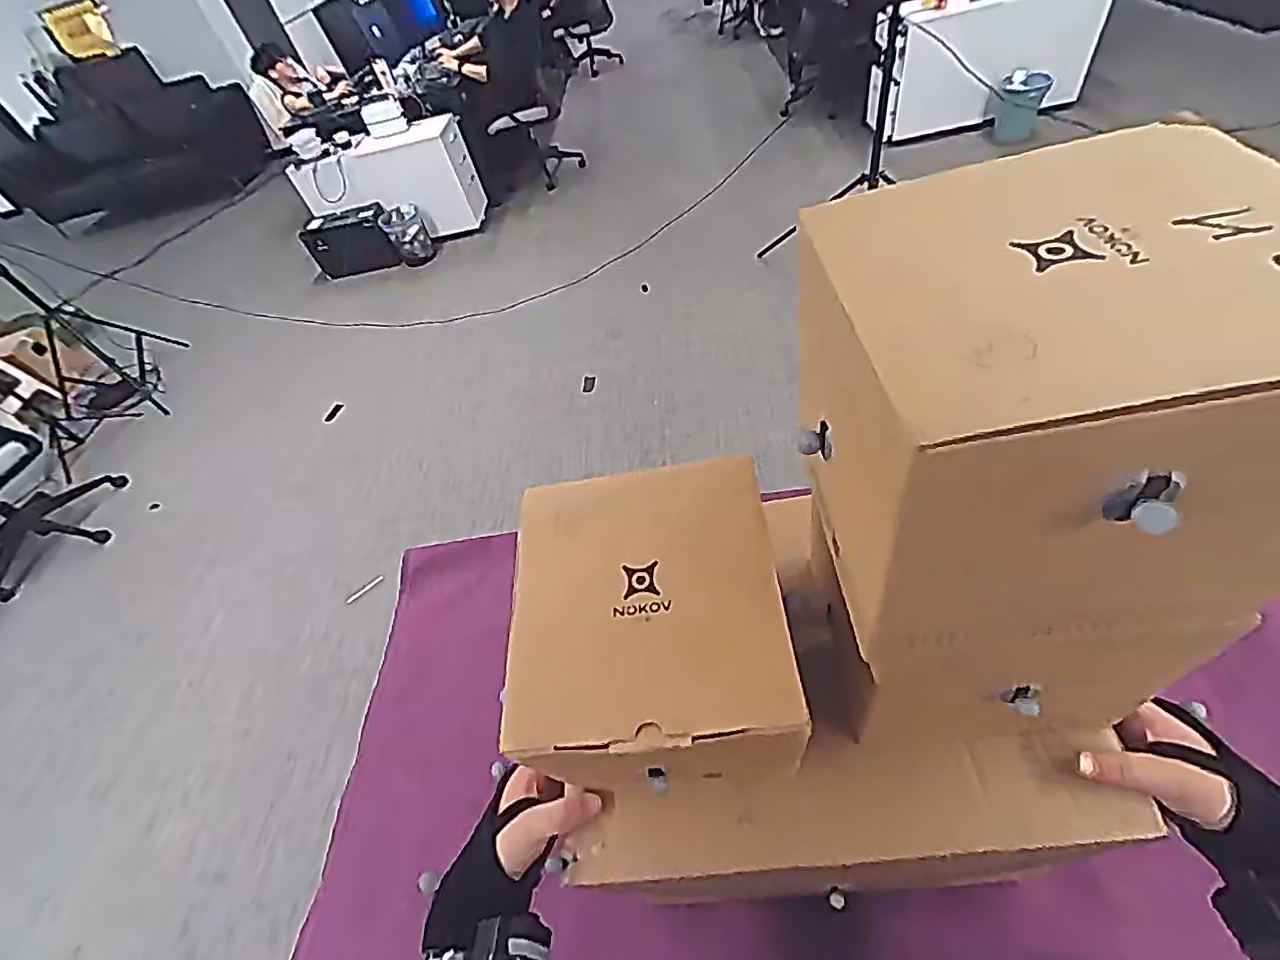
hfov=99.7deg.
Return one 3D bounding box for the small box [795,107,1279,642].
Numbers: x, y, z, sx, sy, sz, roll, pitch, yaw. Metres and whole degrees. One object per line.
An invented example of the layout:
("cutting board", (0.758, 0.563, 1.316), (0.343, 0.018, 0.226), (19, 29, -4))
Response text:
("small box", (0.179, -0.037, 0.257), (0.179, 0.176, 0.168), (-9, 49, 9))
